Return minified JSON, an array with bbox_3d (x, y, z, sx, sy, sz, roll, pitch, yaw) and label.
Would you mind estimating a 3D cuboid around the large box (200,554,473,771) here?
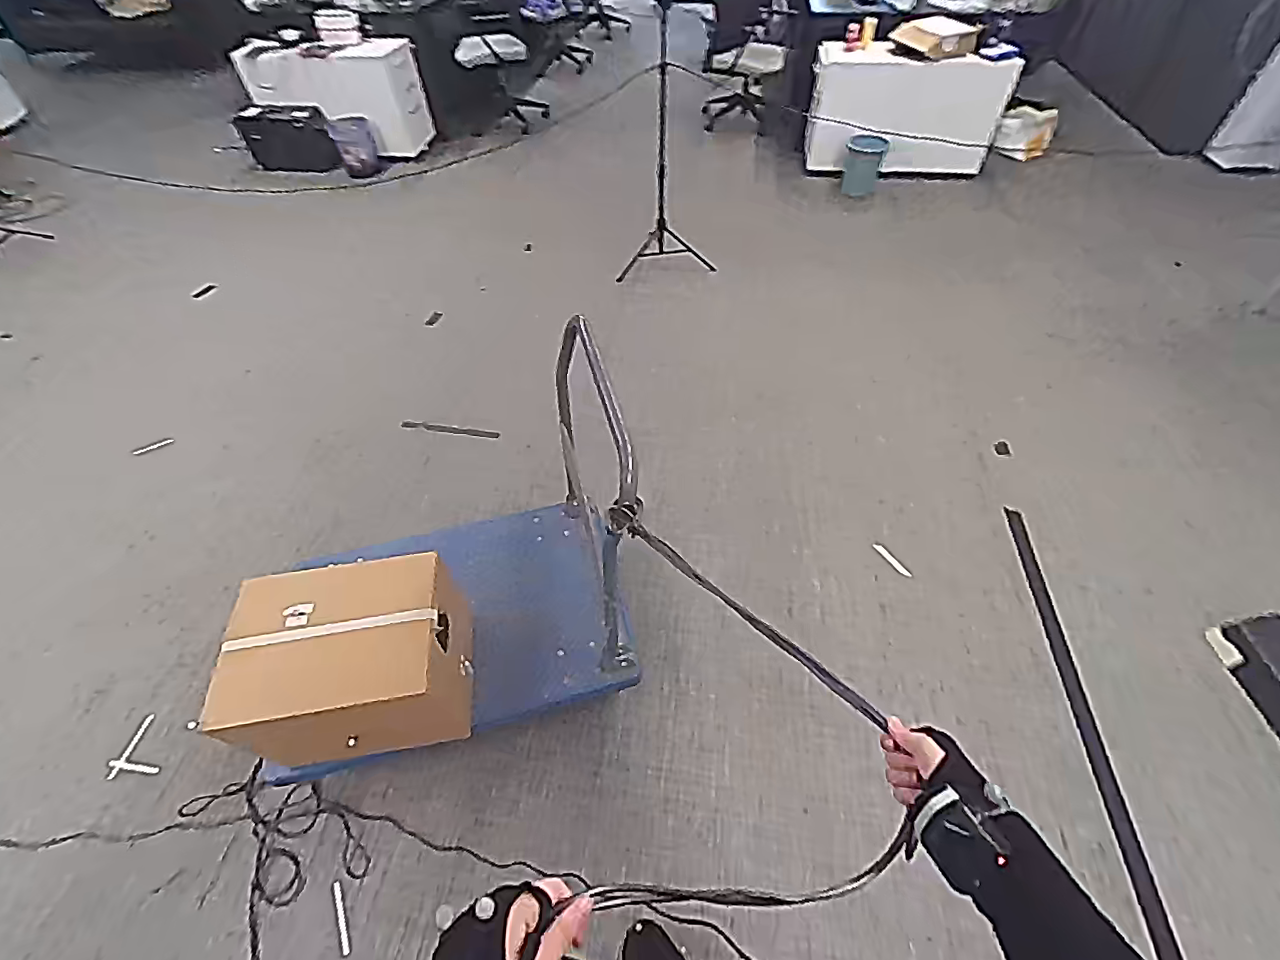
[{"bbox_3d":[-0.605,0.402,1.179,0.408,0.320,0.320,-9,51,-5],"label":"large box"}]
